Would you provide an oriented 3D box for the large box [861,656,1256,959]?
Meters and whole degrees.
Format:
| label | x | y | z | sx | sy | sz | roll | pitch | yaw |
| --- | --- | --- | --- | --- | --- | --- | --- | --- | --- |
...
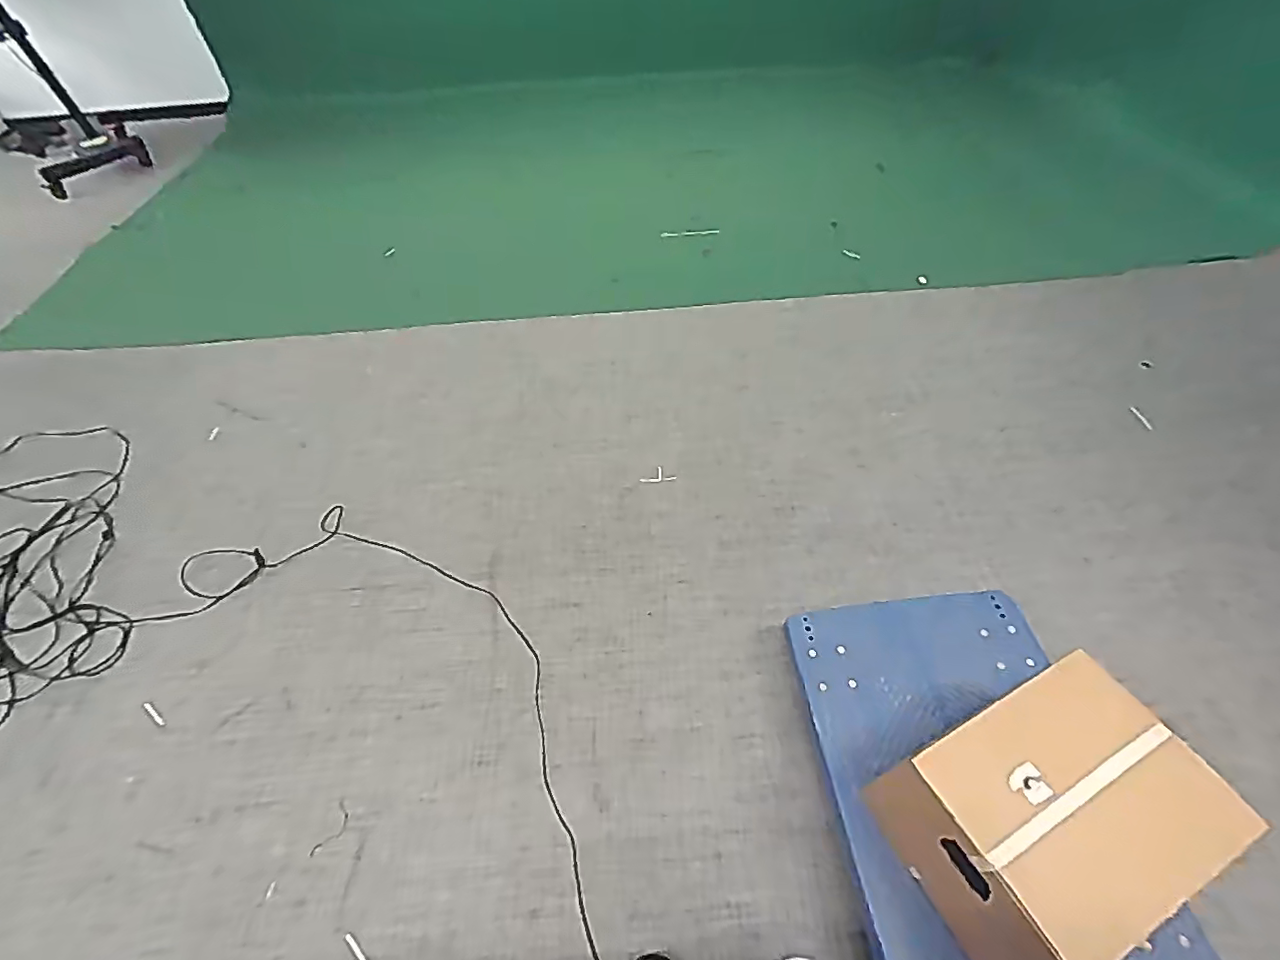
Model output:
| label | x | y | z | sx | sy | sz | roll | pitch | yaw |
| --- | --- | --- | --- | --- | --- | --- | --- | --- | --- |
| large box | 0.684 | 0.583 | 0.956 | 0.408 | 0.320 | 0.320 | -23 | 54 | -14 |
